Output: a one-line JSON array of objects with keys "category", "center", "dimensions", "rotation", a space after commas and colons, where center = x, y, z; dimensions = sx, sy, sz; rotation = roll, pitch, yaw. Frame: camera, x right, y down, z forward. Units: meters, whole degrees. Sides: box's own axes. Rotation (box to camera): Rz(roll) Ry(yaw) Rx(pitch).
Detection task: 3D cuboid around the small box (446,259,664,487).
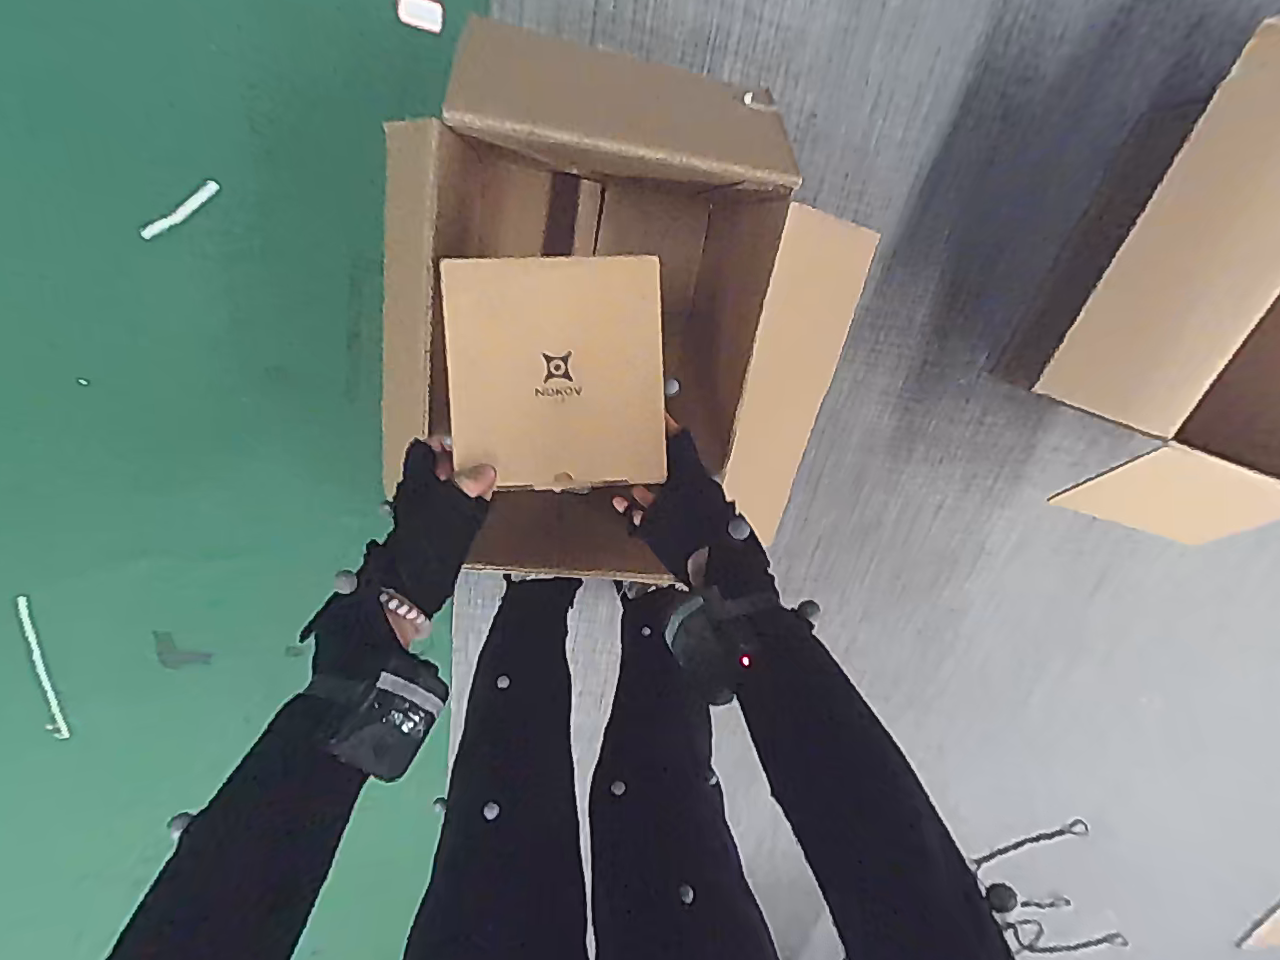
[{"category": "small box", "center": [-0.073, -0.090, 0.504], "dimensions": [0.168, 0.176, 0.179], "rotation": [-3, 96, -5]}]
